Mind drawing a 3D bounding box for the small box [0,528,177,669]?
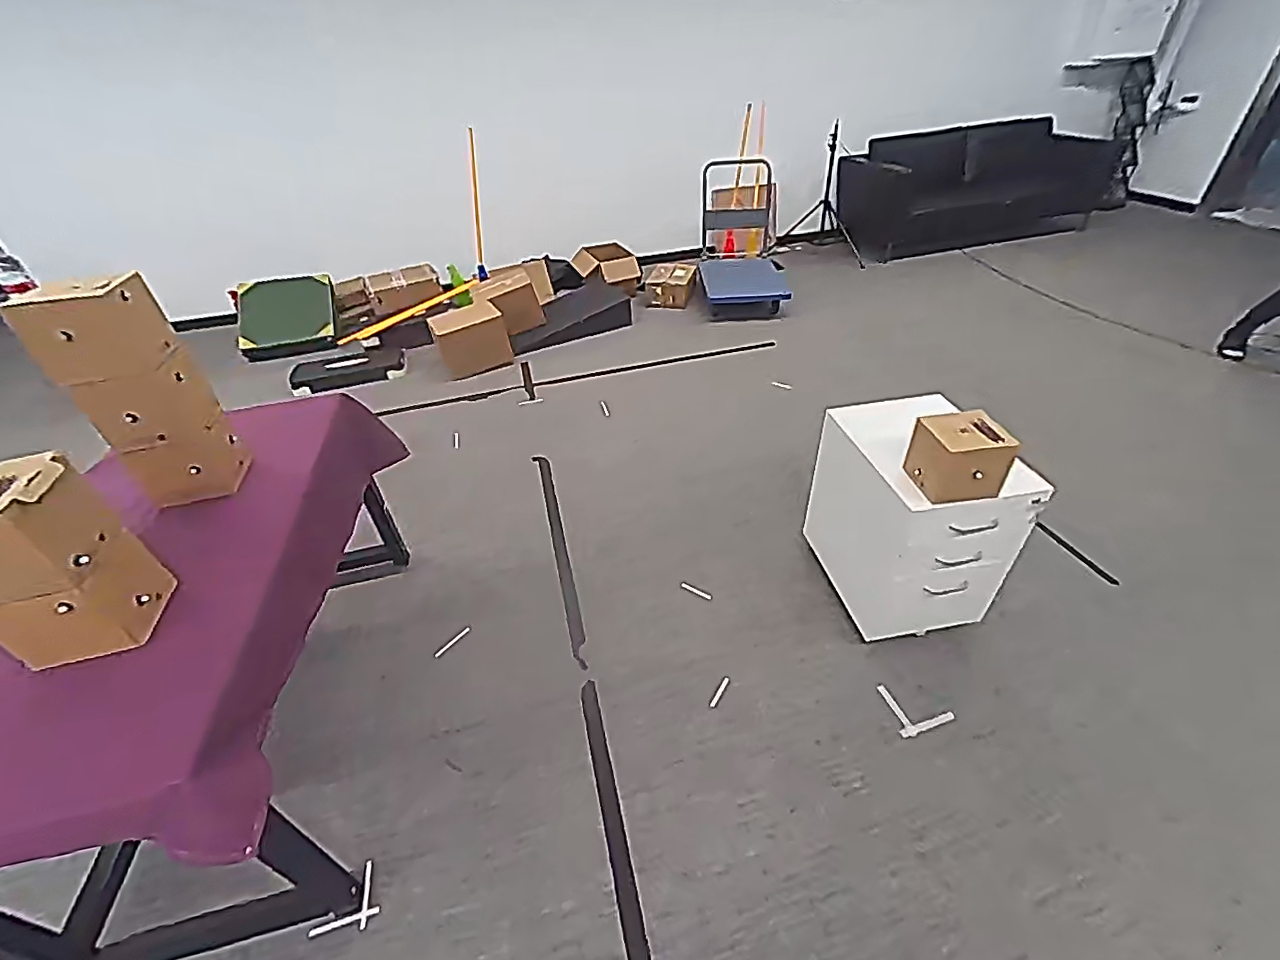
[{"bbox_3d":[-1.018,0.218,0.991,0.179,0.176,0.168,-12,39,-11],"label":"small box"}]

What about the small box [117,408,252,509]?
[{"bbox_3d":[-1.108,-0.053,1.337,0.179,0.176,0.168,-12,39,-9],"label":"small box"}]

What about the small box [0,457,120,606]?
[{"bbox_3d":[-1.028,0.090,0.888,0.179,0.176,0.168,-13,39,-11],"label":"small box"}]

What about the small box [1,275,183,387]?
[{"bbox_3d":[-1.131,-0.312,1.137,0.179,0.176,0.168,-12,39,-9],"label":"small box"}]

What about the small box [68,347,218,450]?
[{"bbox_3d":[-1.115,-0.182,1.235,0.168,0.176,0.179,-12,38,-11],"label":"small box"}]
